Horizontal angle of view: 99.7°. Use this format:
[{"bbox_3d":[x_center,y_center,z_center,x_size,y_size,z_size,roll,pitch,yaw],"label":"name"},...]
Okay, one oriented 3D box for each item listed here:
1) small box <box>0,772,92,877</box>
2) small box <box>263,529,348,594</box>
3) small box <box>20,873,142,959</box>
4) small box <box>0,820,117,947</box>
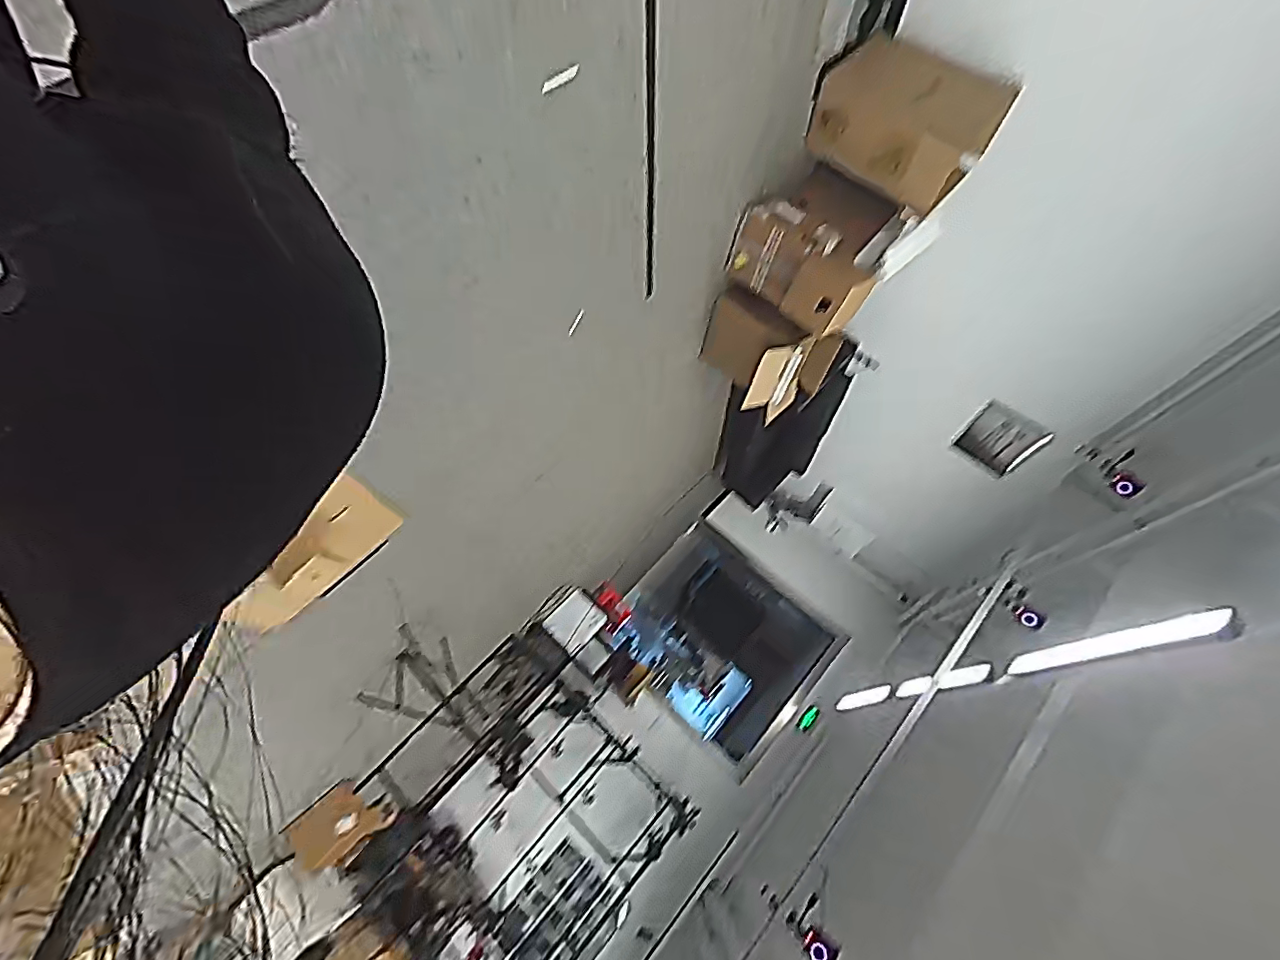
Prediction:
[{"bbox_3d":[-1.635,0.938,1.458,0.179,0.176,0.168,-58,160,21],"label":"small box"},{"bbox_3d":[-1.265,0.308,2.047,0.168,0.176,0.179,-50,161,-10],"label":"small box"},{"bbox_3d":[-1.398,1.136,1.350,0.179,0.176,0.168,-58,160,21],"label":"small box"},{"bbox_3d":[-1.517,1.039,1.406,0.179,0.176,0.168,-57,161,21],"label":"small box"}]
